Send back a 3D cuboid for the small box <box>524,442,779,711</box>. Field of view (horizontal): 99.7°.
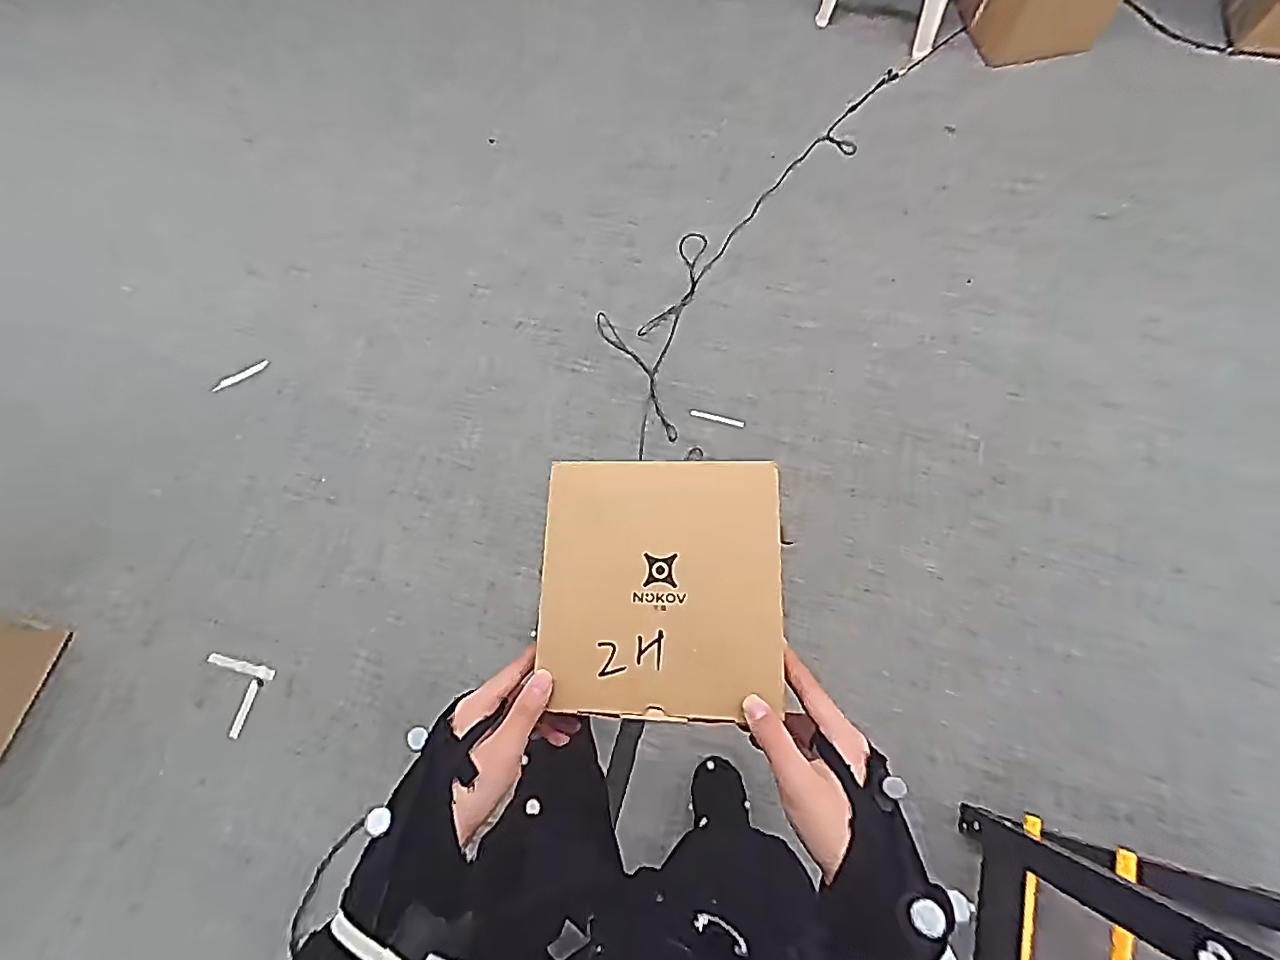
[{"bbox_3d":[0.019,0.078,0.440,0.168,0.176,0.179,0,75,8],"label":"small box"}]
